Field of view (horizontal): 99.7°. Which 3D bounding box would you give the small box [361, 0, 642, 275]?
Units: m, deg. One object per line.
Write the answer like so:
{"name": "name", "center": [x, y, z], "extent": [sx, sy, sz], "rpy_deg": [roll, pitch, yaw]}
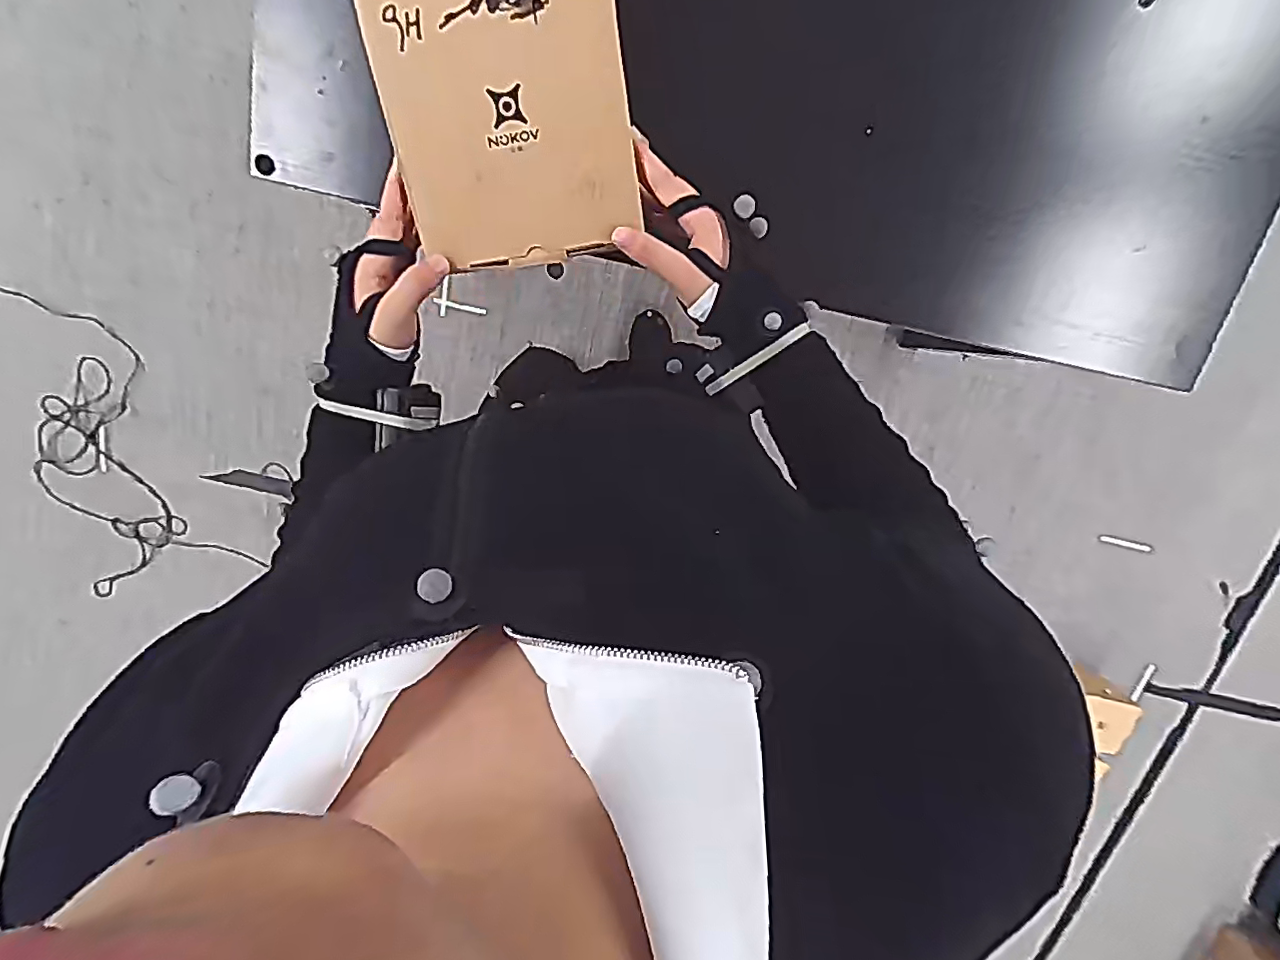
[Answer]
{"name": "small box", "center": [-0.088, -0.279, 0.450], "extent": [0.168, 0.176, 0.179], "rpy_deg": [-8, 114, 3]}
